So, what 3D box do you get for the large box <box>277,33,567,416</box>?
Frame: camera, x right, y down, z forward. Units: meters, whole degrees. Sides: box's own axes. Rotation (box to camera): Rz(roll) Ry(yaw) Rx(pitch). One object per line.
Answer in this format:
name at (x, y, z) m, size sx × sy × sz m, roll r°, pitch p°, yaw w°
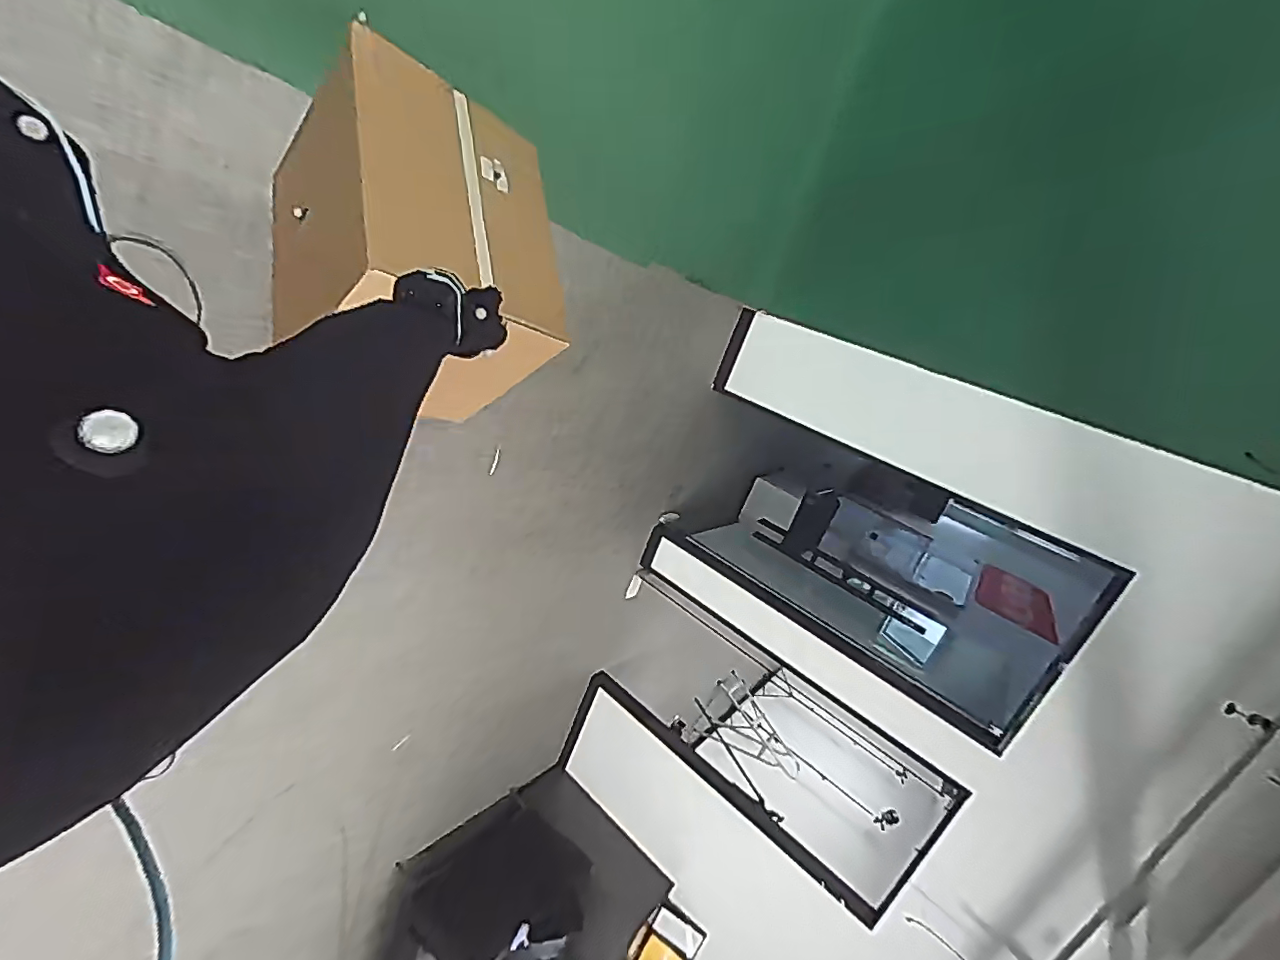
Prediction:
large box at (-0.365, -0.361, 0.882) m, size 0.320 × 0.408 × 0.320 m, roll -25°, pitch 159°, yaw 35°
